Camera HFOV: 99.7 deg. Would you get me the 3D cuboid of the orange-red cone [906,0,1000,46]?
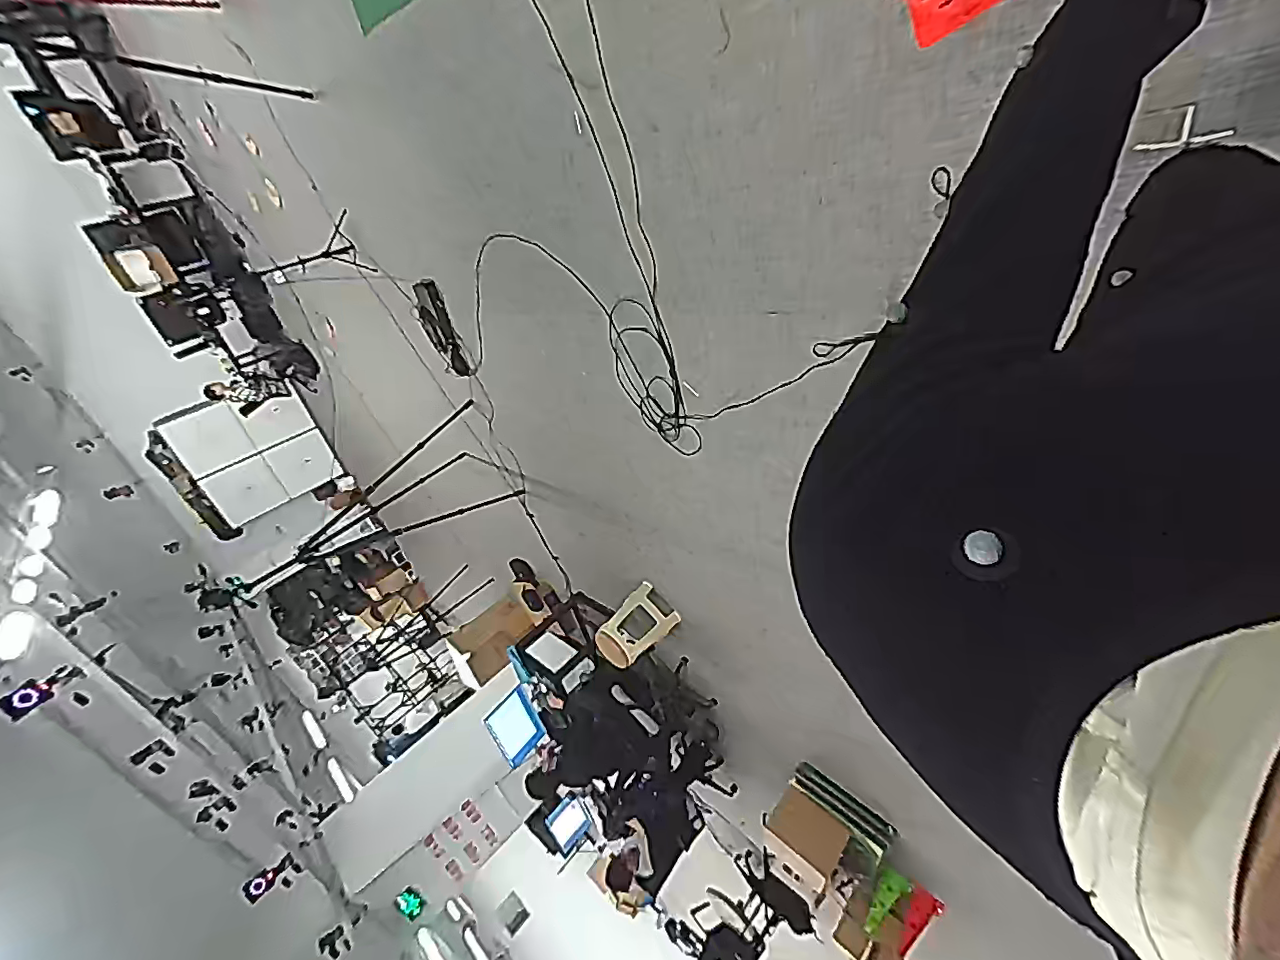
[{"bbox_3d":[0.533,-0.971,1.033,0.199,0.360,0.198,1,120,53],"label":"orange-red cone"}]
